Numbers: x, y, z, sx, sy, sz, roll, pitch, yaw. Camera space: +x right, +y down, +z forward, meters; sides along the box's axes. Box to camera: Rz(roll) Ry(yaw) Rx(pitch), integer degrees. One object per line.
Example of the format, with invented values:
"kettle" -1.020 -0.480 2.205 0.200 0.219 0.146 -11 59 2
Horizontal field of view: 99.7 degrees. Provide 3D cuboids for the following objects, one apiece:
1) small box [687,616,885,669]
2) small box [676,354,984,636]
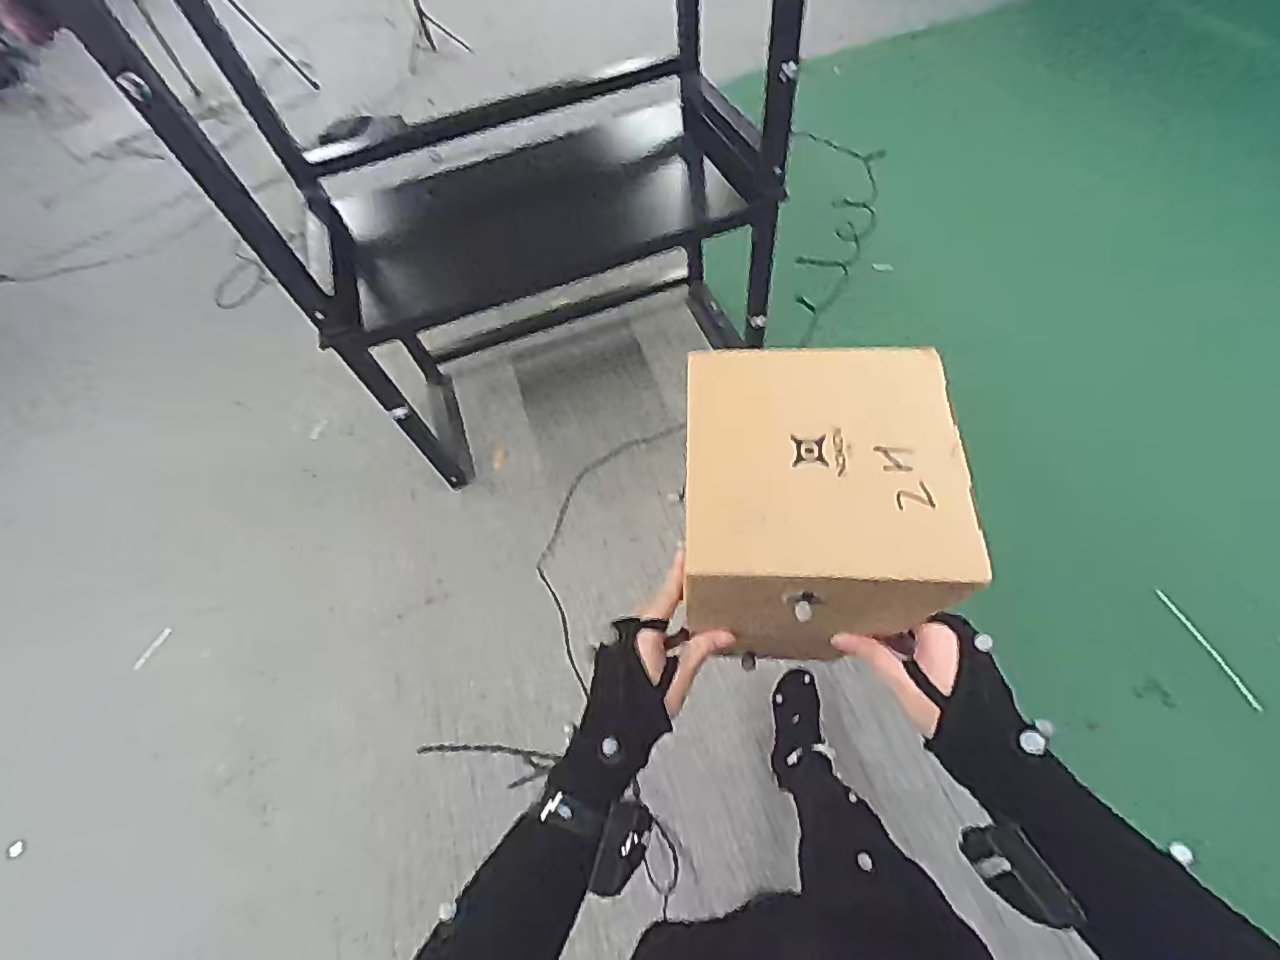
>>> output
"small box" 0.134 0.092 0.568 0.168 0.176 0.179 0 63 5
"small box" 0.120 0.022 0.419 0.179 0.176 0.168 0 64 6
